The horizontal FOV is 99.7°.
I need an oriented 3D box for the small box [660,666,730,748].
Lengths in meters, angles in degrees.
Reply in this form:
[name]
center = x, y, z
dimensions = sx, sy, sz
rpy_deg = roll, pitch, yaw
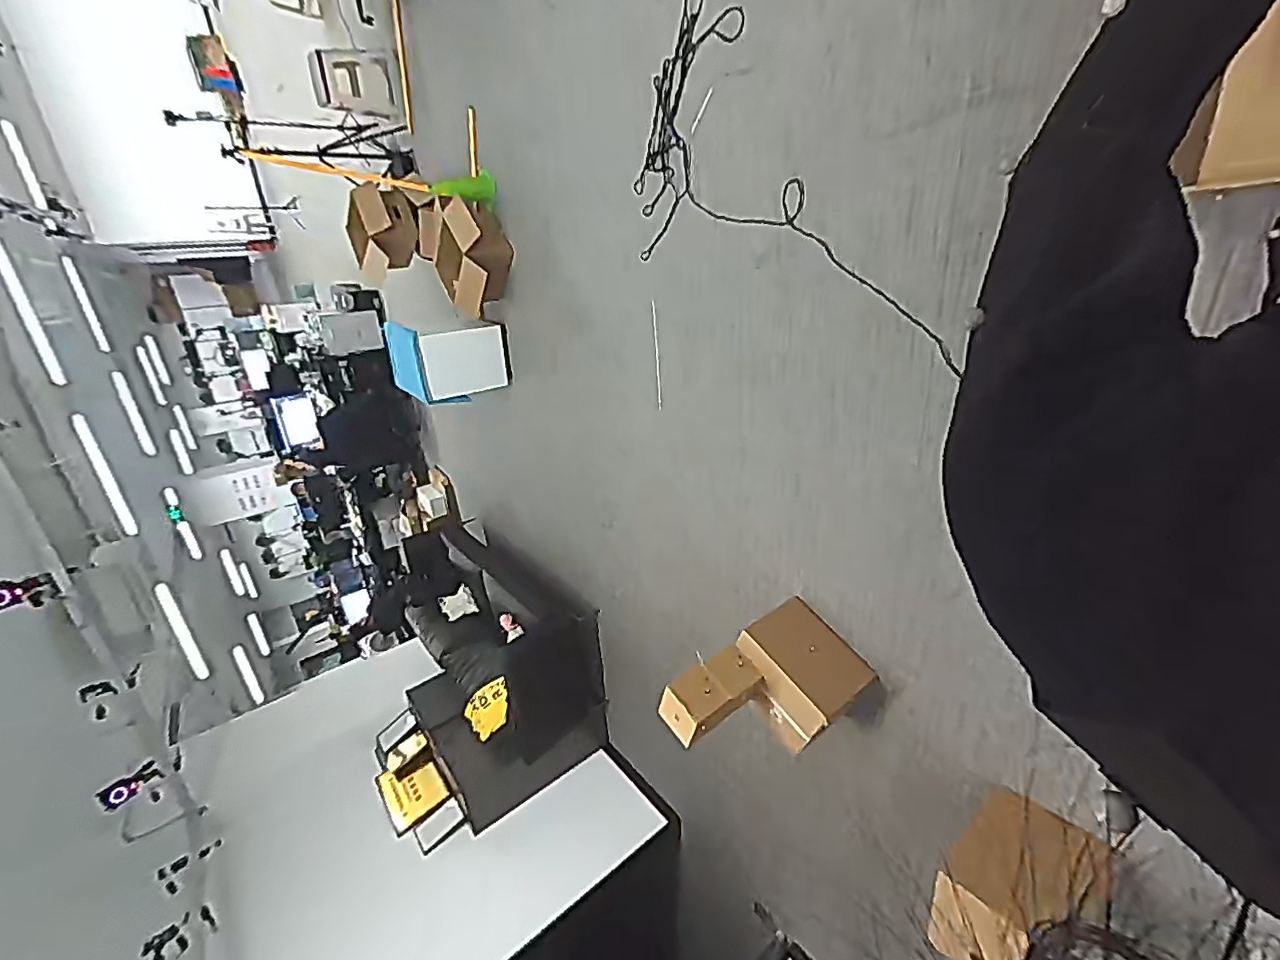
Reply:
[small box]
center = 0.197, 0.802, 1.917
dimensions = 0.168, 0.176, 0.179
rpy_deg = 42, 137, 35
